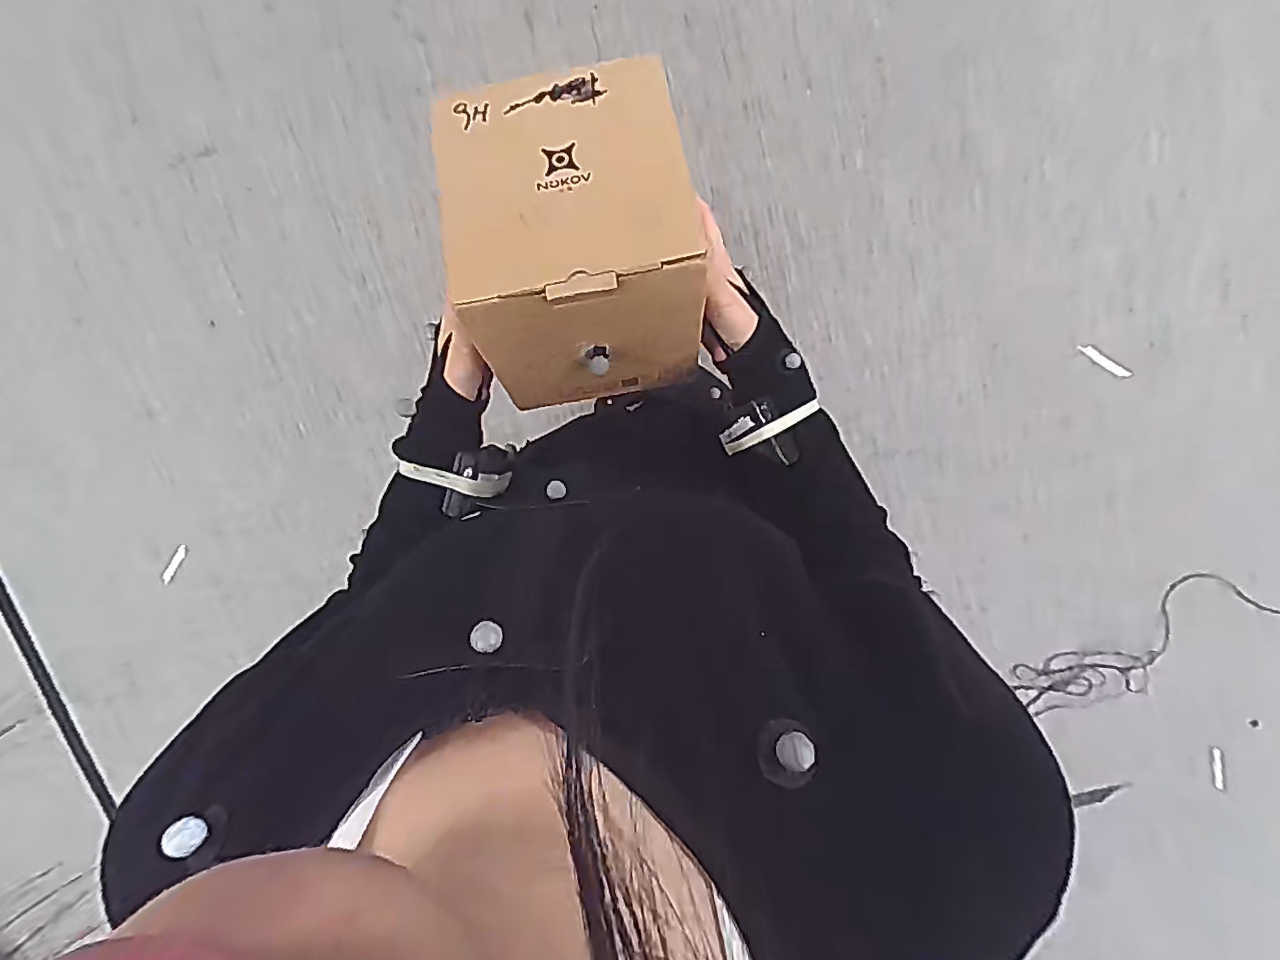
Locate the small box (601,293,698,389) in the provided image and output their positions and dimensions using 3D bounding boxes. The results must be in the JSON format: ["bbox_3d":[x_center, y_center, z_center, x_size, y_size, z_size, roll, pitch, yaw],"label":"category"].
[{"bbox_3d":[0.022,-0.297,1.185,0.179,0.176,0.168,-13,102,3],"label":"small box"}]
